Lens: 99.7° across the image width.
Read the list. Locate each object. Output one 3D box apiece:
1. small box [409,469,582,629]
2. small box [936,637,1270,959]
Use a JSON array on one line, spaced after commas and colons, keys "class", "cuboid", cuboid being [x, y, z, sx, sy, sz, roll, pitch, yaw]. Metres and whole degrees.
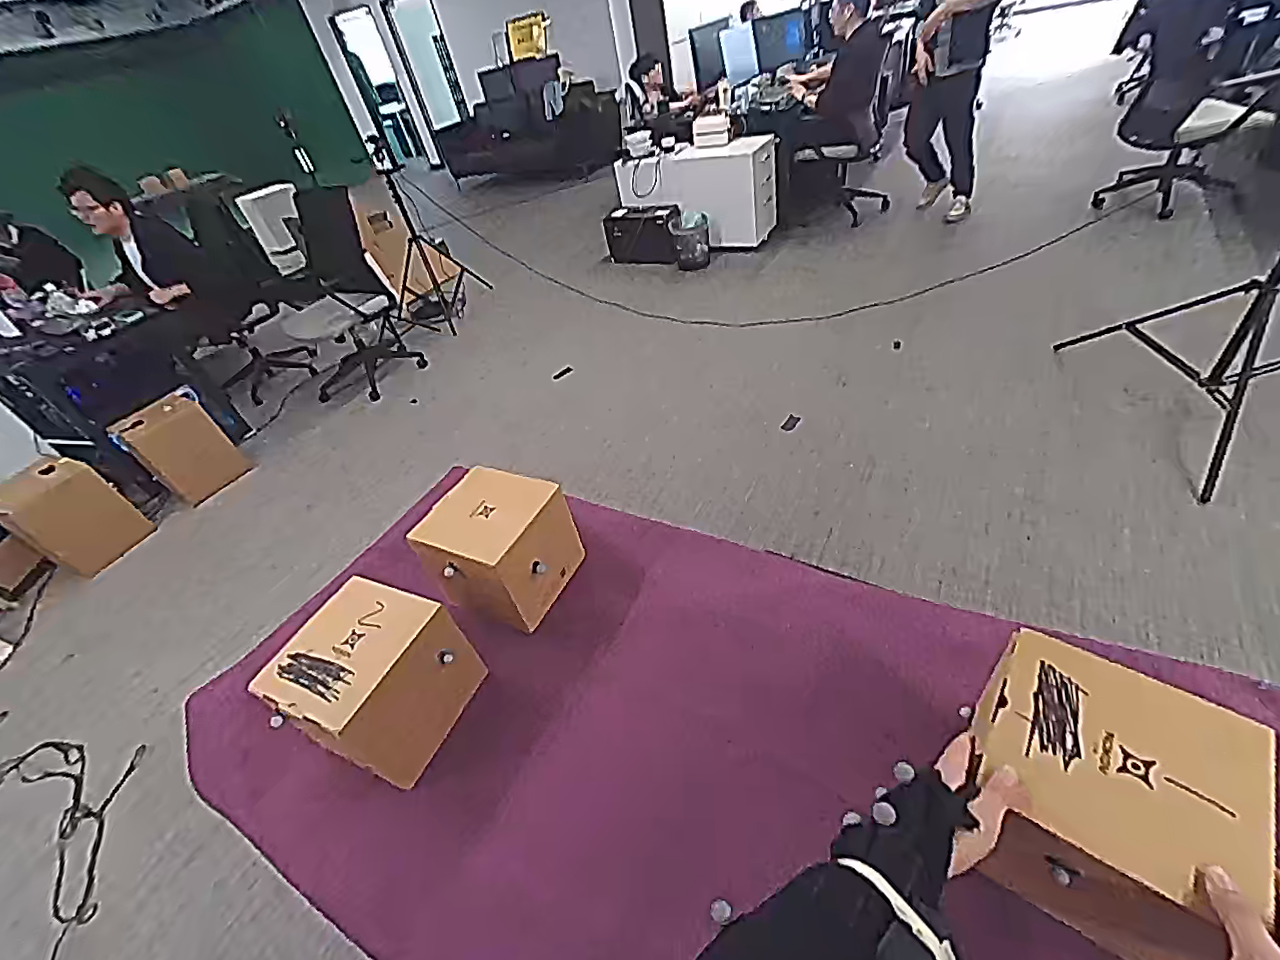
[{"class": "small box", "cuboid": [-0.214, 0.109, 0.852, 0.179, 0.176, 0.168, 12, 47, 26]}, {"class": "small box", "cuboid": [0.389, 0.282, 0.481, 0.179, 0.176, 0.168, 22, 54, 32]}]
